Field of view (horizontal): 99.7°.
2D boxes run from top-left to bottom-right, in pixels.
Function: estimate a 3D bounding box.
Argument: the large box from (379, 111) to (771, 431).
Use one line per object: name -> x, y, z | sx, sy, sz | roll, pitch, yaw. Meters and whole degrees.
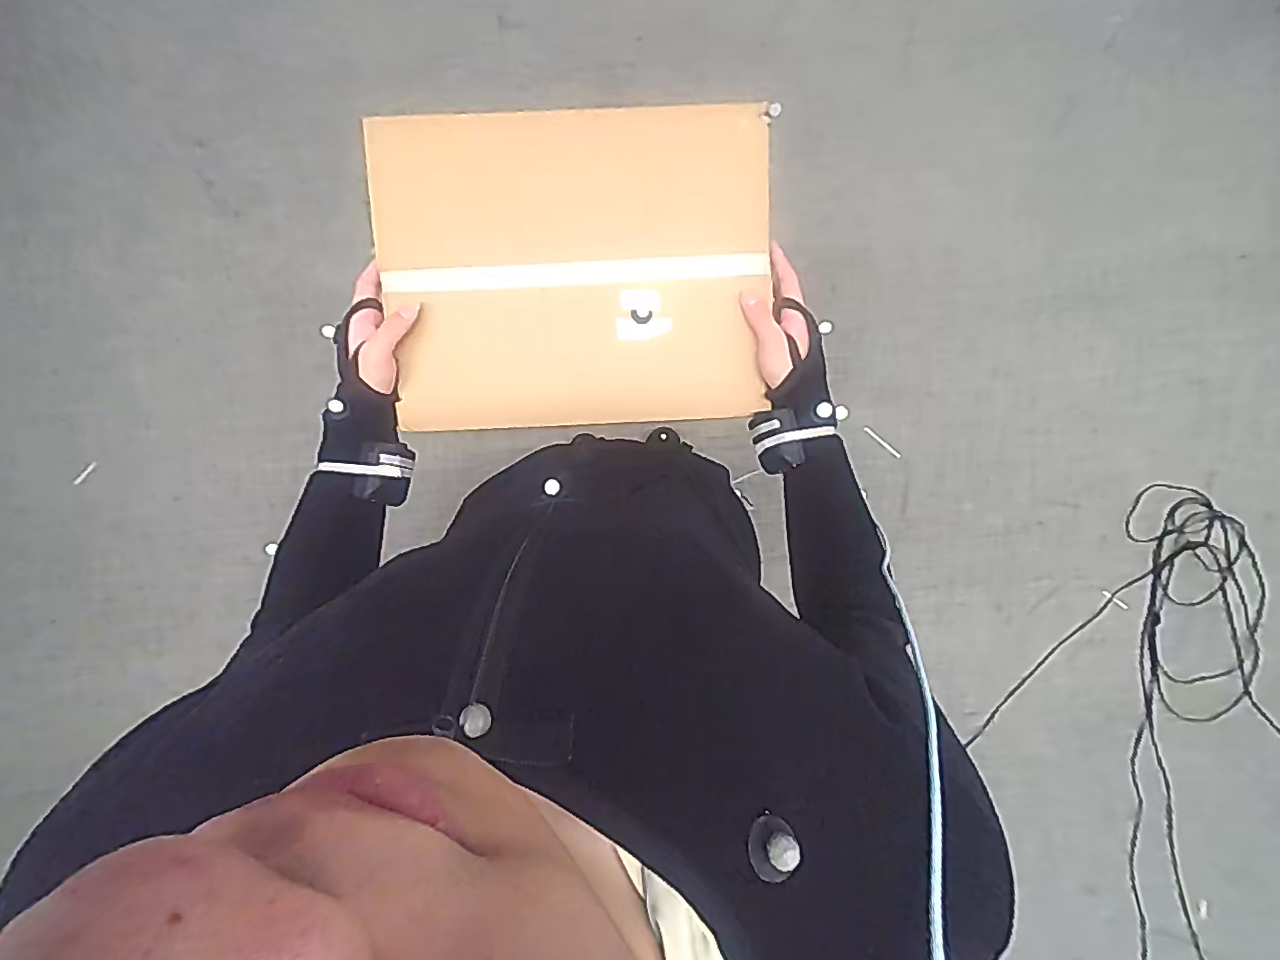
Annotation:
large box -> -0.067, -0.238, 0.721 | 0.408, 0.320, 0.320 | -3, 99, -2
